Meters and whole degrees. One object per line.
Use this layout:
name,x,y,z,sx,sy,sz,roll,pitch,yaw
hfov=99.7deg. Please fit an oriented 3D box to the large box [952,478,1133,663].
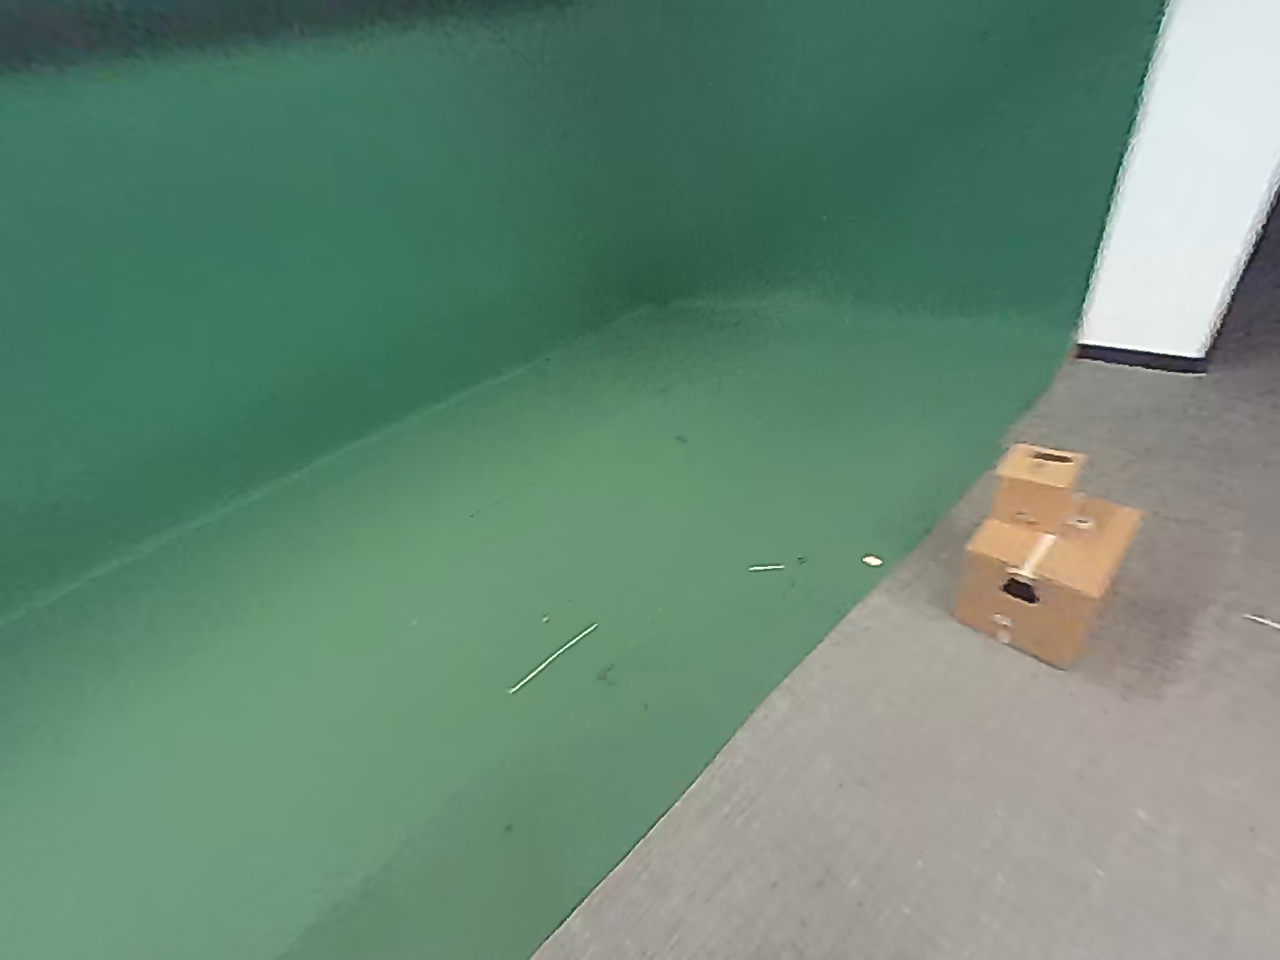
large box,1.197,0.259,1.631,0.408,0.320,0.320,-35,39,-28
